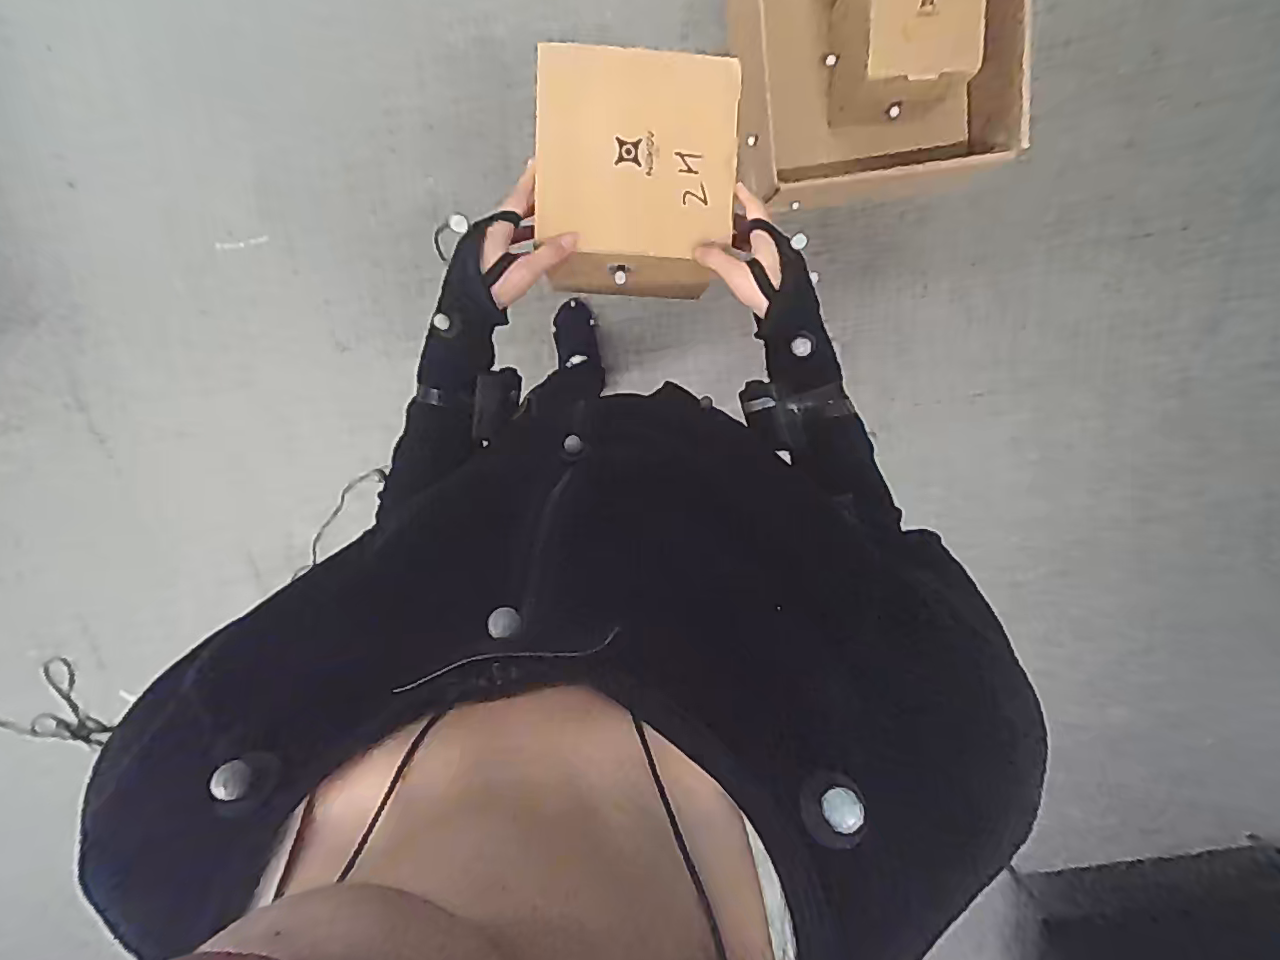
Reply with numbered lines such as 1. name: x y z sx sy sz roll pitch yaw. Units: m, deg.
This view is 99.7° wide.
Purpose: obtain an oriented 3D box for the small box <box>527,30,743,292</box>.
1. small box: -0.010 -0.292 0.536 0.179 0.176 0.168 3 97 -5
